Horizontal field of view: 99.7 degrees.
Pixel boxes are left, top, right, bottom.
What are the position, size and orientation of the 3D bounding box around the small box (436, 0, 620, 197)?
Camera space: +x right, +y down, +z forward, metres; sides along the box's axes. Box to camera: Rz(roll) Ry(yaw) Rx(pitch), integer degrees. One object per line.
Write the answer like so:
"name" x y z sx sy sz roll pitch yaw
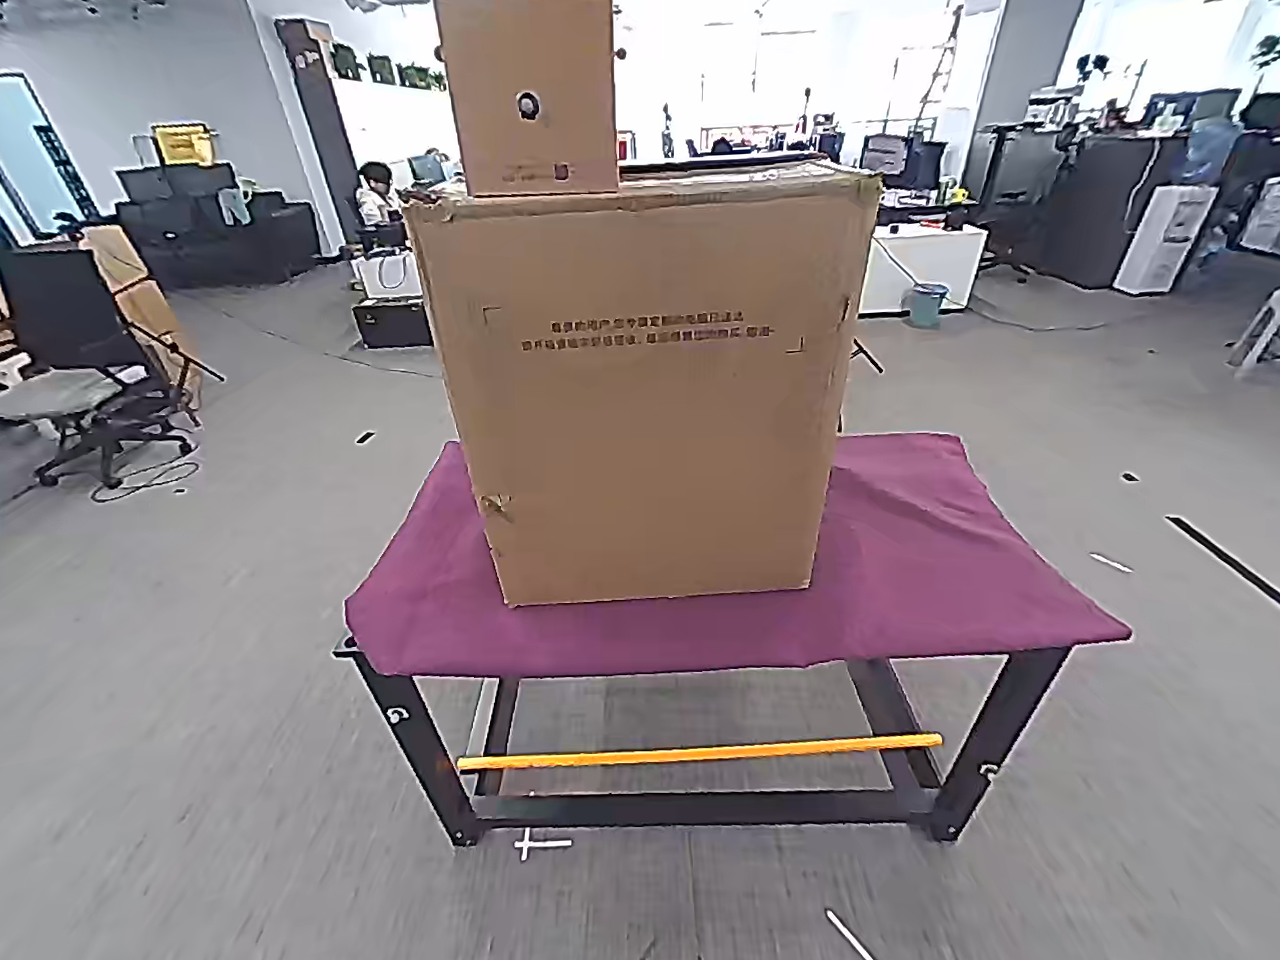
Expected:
"small box" -0.109 -0.422 0.610 0.168 0.176 0.179 -2 34 -2
